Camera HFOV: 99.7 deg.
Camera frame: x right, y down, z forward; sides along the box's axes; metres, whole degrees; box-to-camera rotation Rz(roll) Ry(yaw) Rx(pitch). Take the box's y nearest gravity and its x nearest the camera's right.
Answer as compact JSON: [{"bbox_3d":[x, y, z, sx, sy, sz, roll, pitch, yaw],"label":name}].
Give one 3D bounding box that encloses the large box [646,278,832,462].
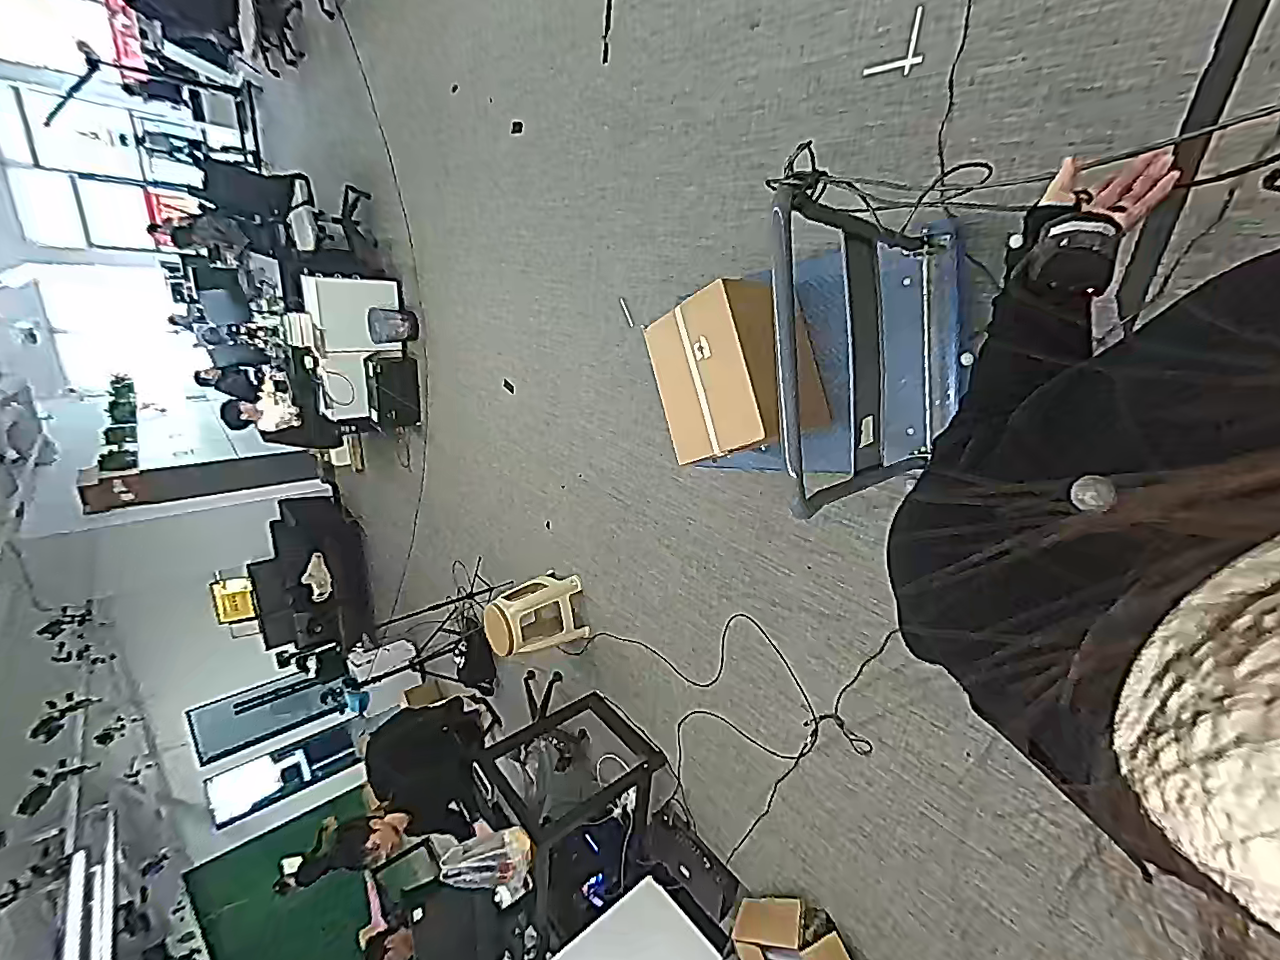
[{"bbox_3d":[0.271,-0.293,1.497,0.320,0.320,0.408,-18,86,50],"label":"large box"}]
